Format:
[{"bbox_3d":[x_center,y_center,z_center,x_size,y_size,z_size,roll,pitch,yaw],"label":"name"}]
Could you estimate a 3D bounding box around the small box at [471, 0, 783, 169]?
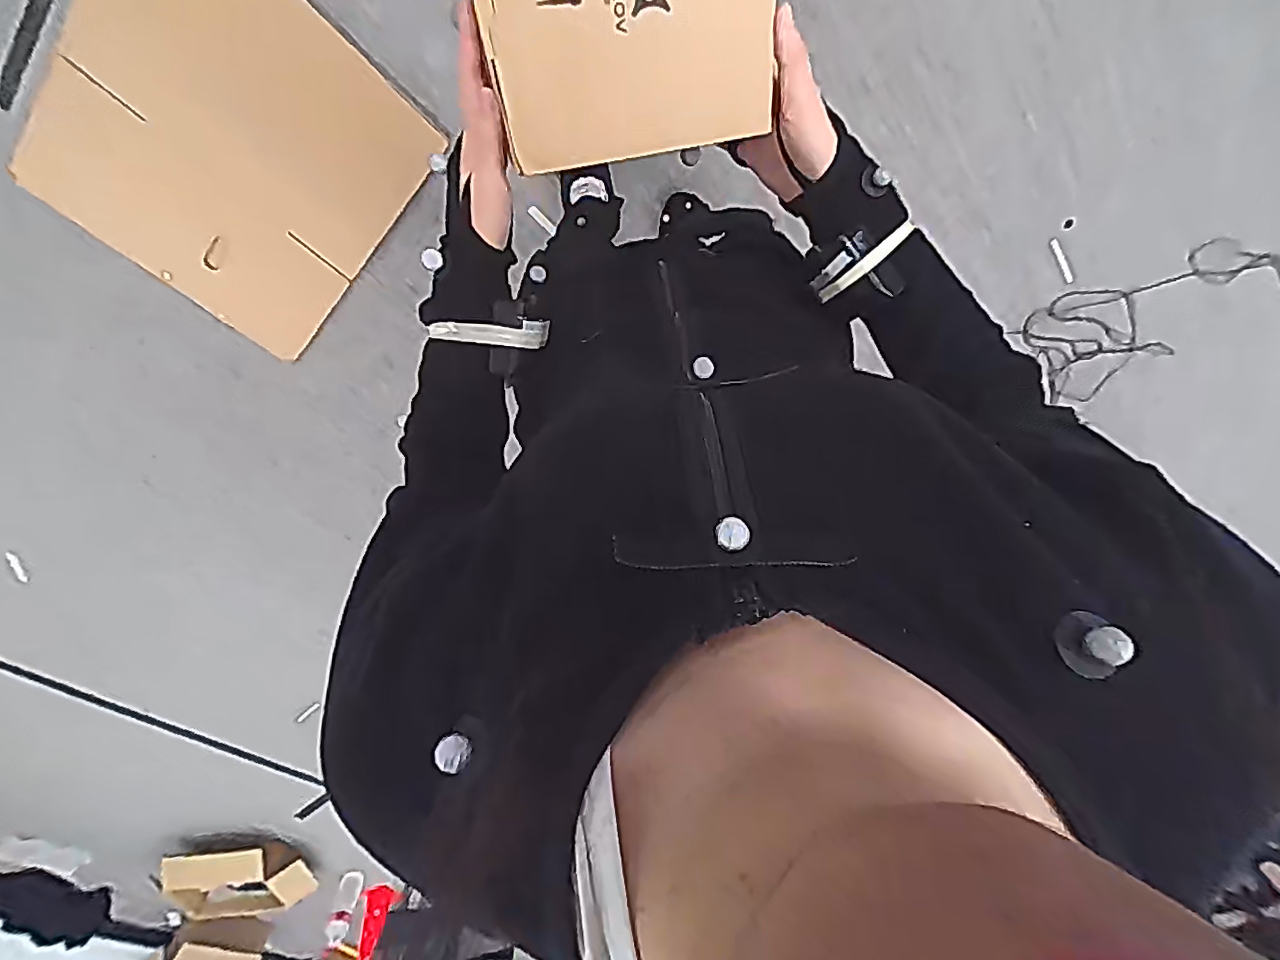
[{"bbox_3d":[-0.020,-0.325,0.360,0.179,0.176,0.168,-14,130,-7],"label":"small box"}]
